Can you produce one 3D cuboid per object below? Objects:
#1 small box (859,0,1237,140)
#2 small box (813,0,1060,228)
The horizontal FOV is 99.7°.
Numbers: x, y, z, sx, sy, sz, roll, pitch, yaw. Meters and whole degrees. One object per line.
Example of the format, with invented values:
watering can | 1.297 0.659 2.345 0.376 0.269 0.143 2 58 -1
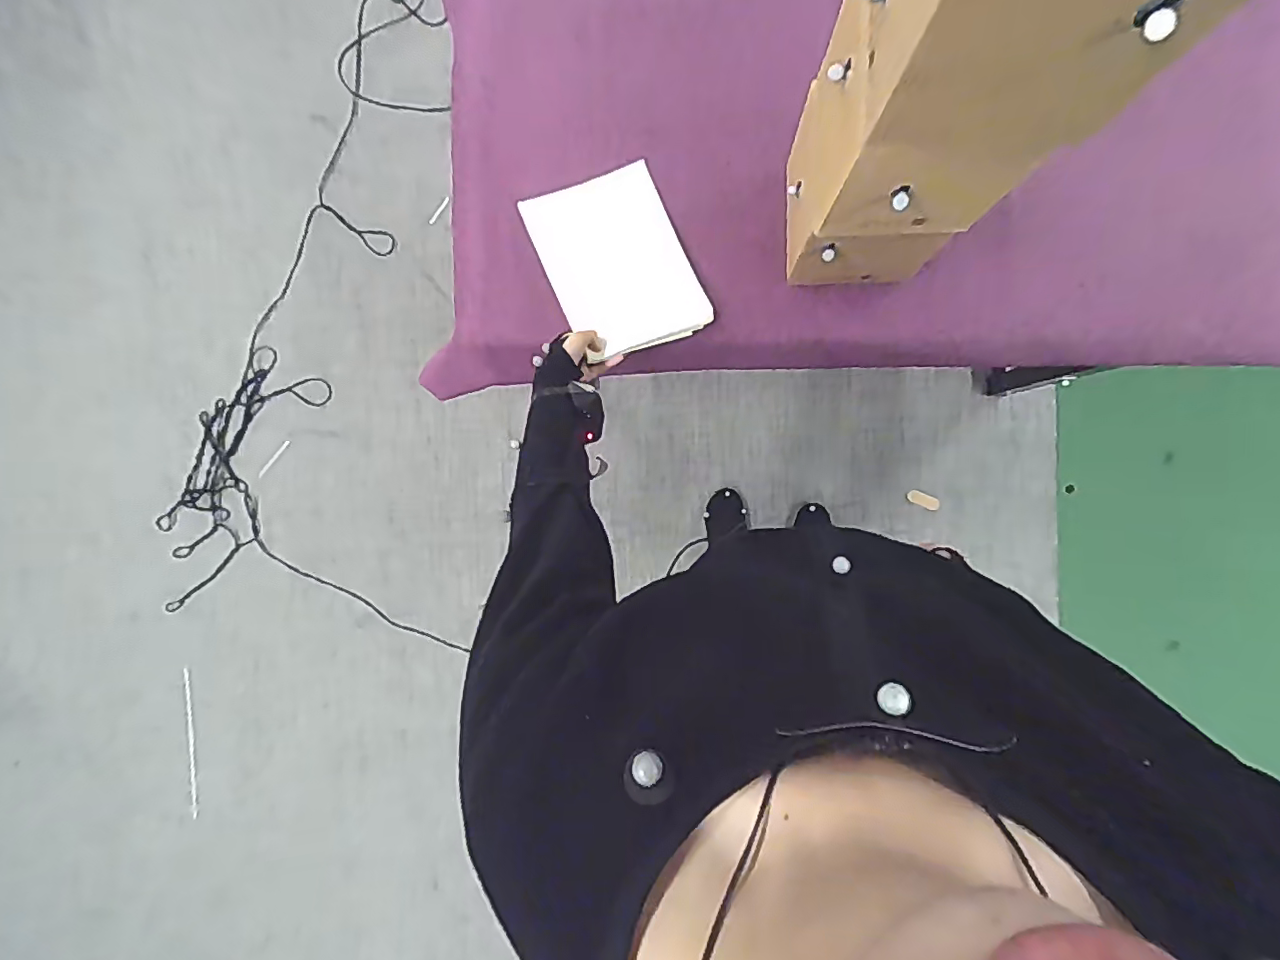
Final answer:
small box | 0.265 -0.357 0.359 0.179 0.176 0.168 3 89 5
small box | 0.270 -0.362 0.524 0.168 0.176 0.179 0 89 5
